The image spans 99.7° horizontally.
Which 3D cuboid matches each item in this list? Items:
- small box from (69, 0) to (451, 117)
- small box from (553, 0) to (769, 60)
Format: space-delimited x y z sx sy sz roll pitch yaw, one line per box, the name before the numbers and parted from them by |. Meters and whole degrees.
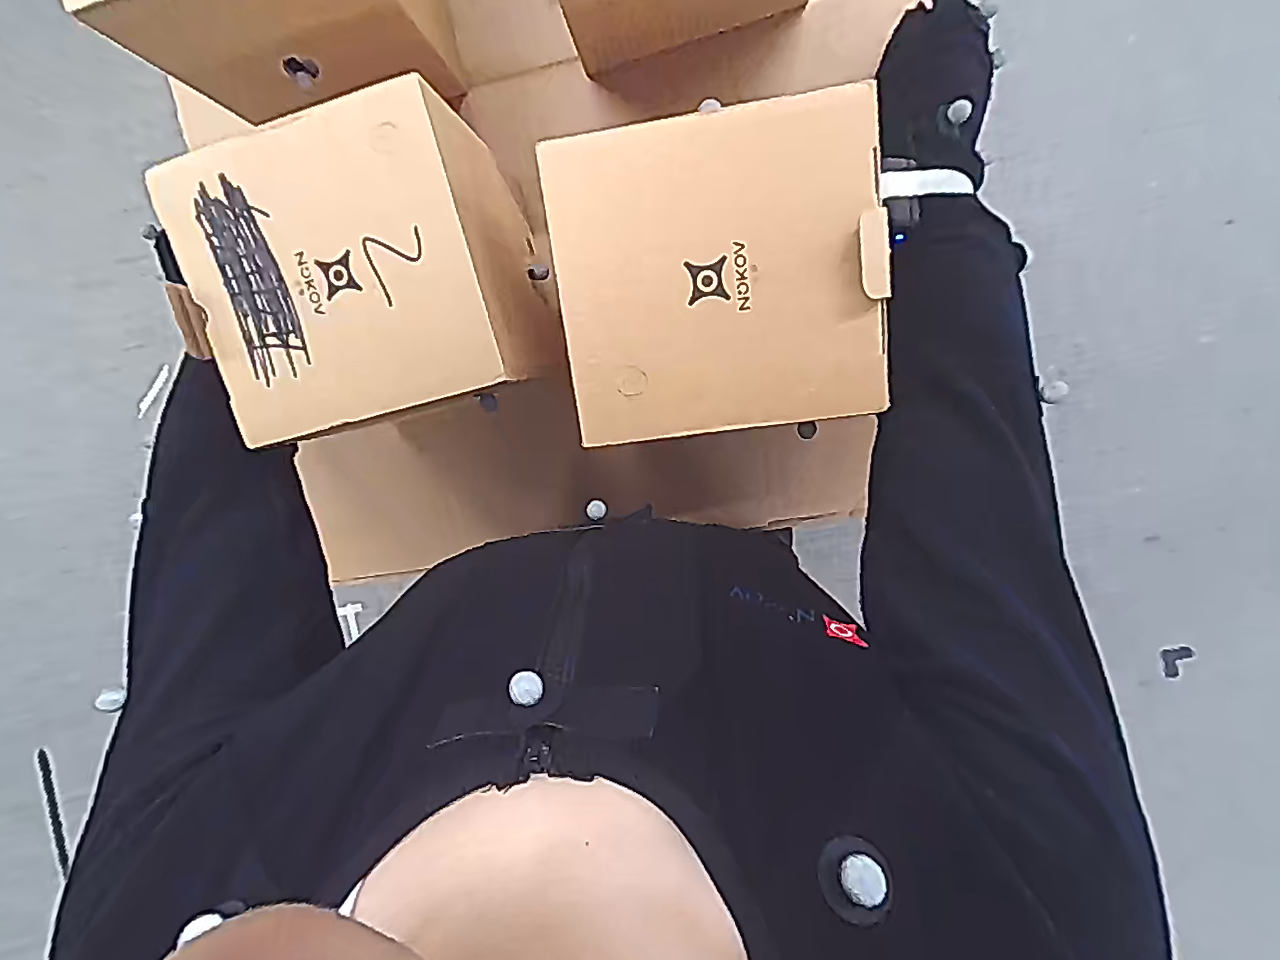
small box | -0.247 -0.375 0.356 0.168 0.176 0.179 -10 98 7
small box | 0.010 -0.404 0.321 0.179 0.176 0.168 -11 98 9
